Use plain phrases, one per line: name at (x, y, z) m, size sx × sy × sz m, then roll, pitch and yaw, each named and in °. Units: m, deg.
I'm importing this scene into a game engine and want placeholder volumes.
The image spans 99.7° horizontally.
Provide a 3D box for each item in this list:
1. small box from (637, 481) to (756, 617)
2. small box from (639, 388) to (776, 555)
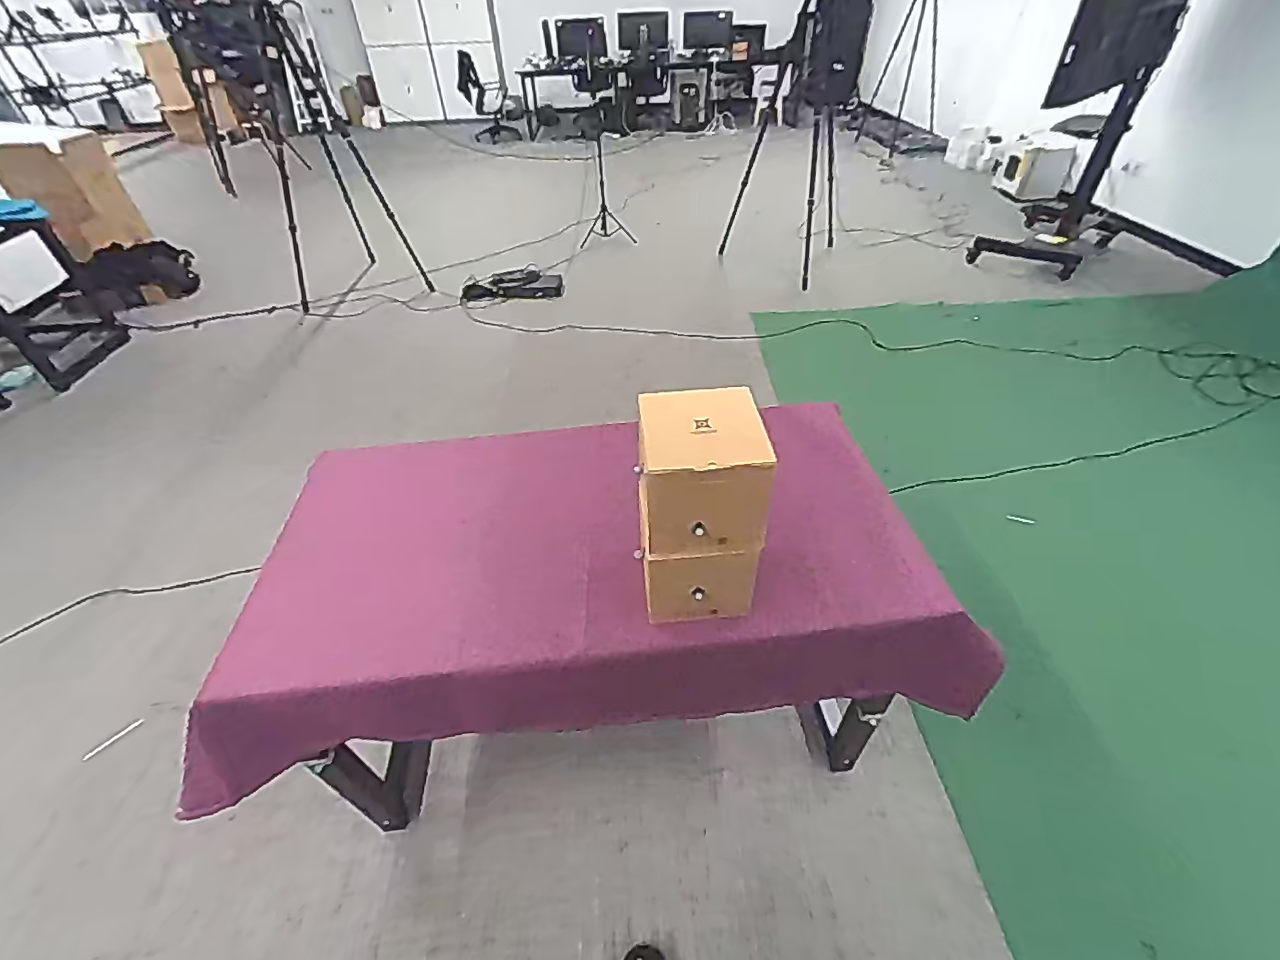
small box at (0.087, 0.112, 0.893) m, size 0.168 × 0.176 × 0.179 m, roll -5°, pitch 42°, yaw -2°
small box at (0.085, -0.013, 0.788) m, size 0.168 × 0.176 × 0.179 m, roll -5°, pitch 44°, yaw -2°
